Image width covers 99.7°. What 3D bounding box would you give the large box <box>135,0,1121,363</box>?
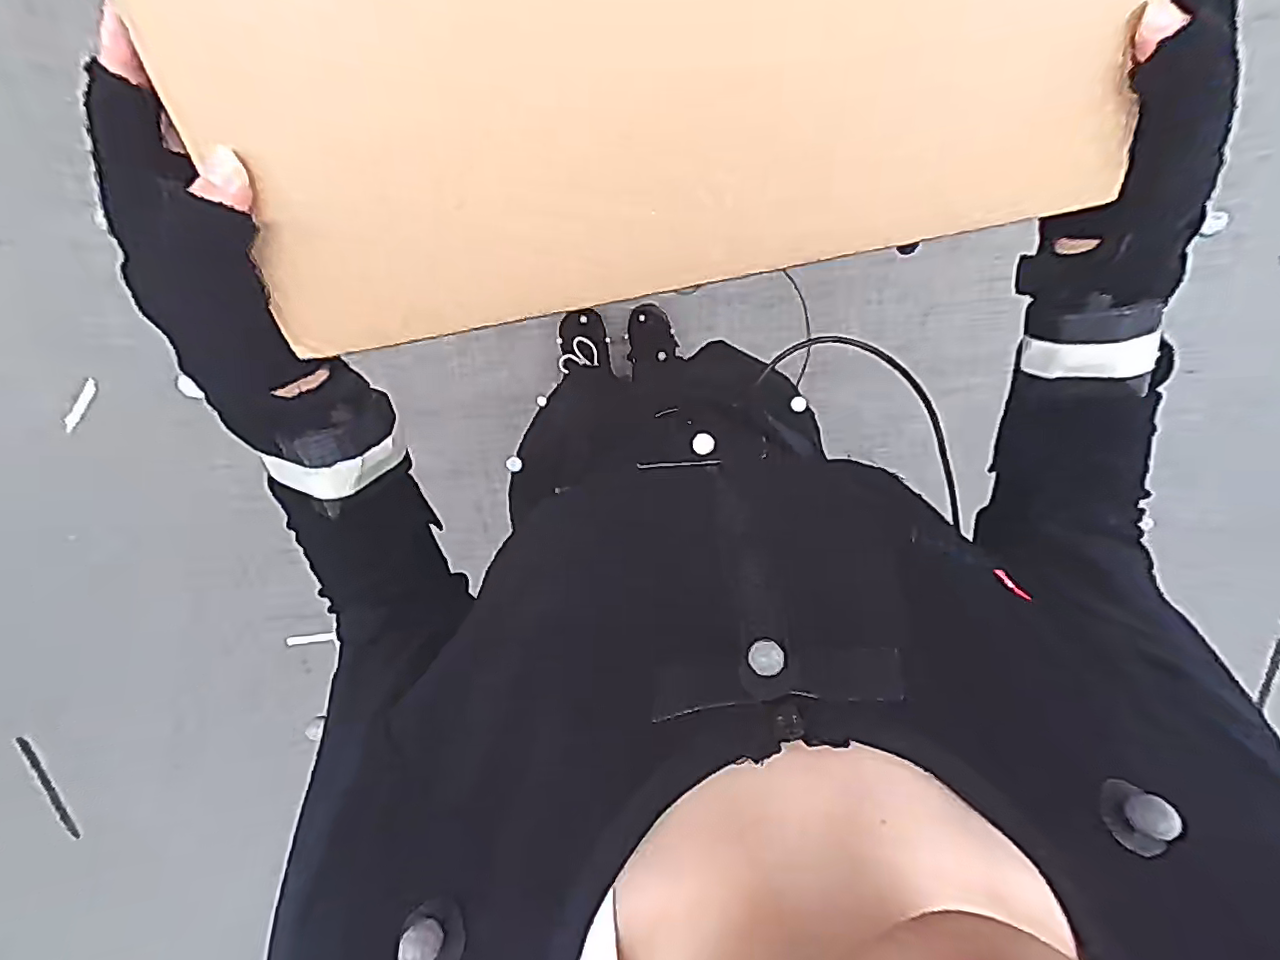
[{"bbox_3d":[-0.011,-0.303,0.327,0.408,0.320,0.320,-11,119,1],"label":"large box"}]
